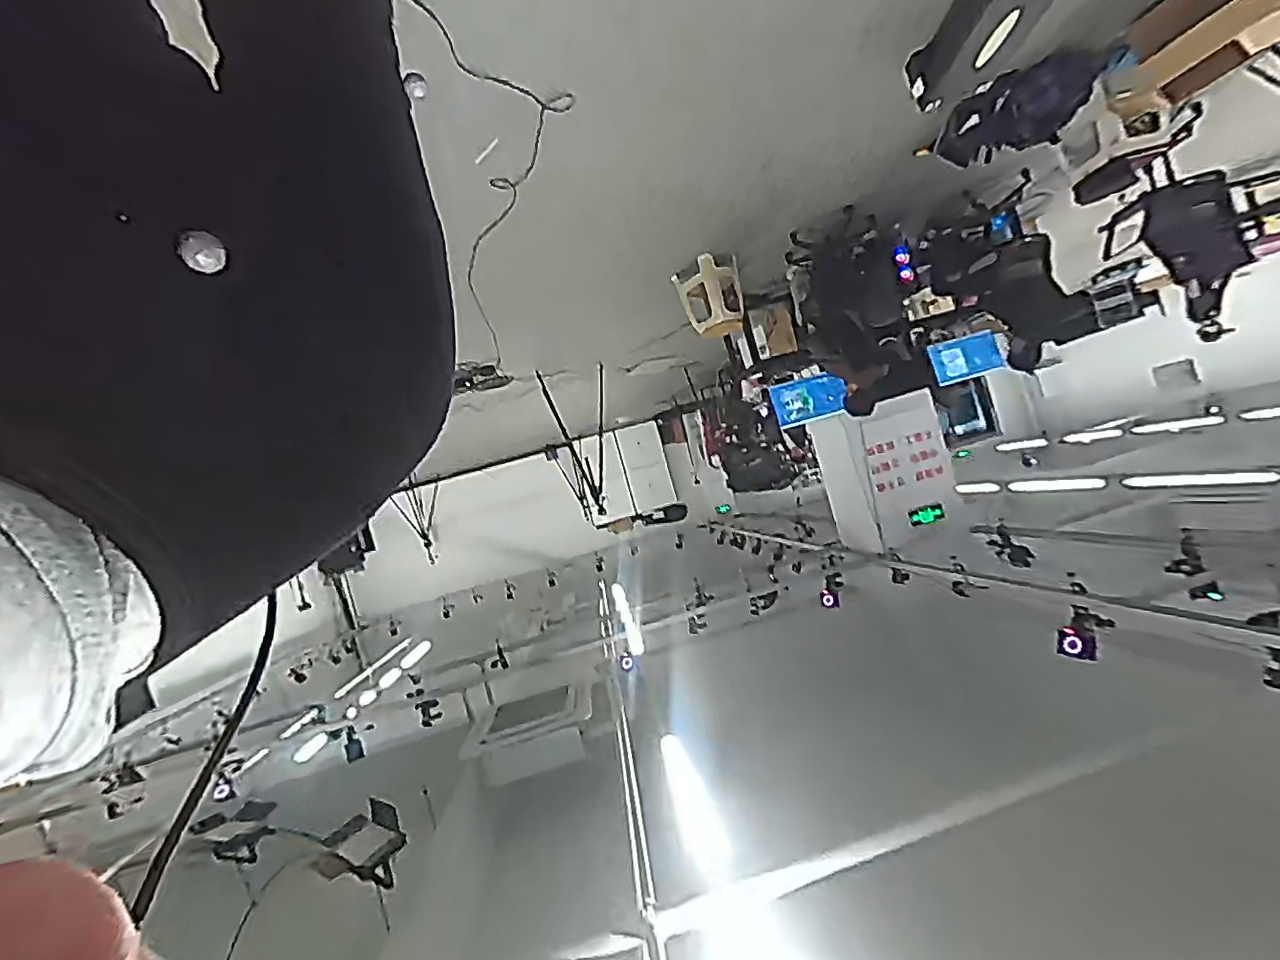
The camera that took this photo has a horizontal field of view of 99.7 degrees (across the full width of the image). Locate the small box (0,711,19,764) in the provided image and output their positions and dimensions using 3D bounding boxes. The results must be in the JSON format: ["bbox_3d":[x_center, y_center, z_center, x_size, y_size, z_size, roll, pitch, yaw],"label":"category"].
[{"bbox_3d":[-1.791,0.699,1.386,0.168,0.176,0.179,-21,180,-8],"label":"small box"}]
